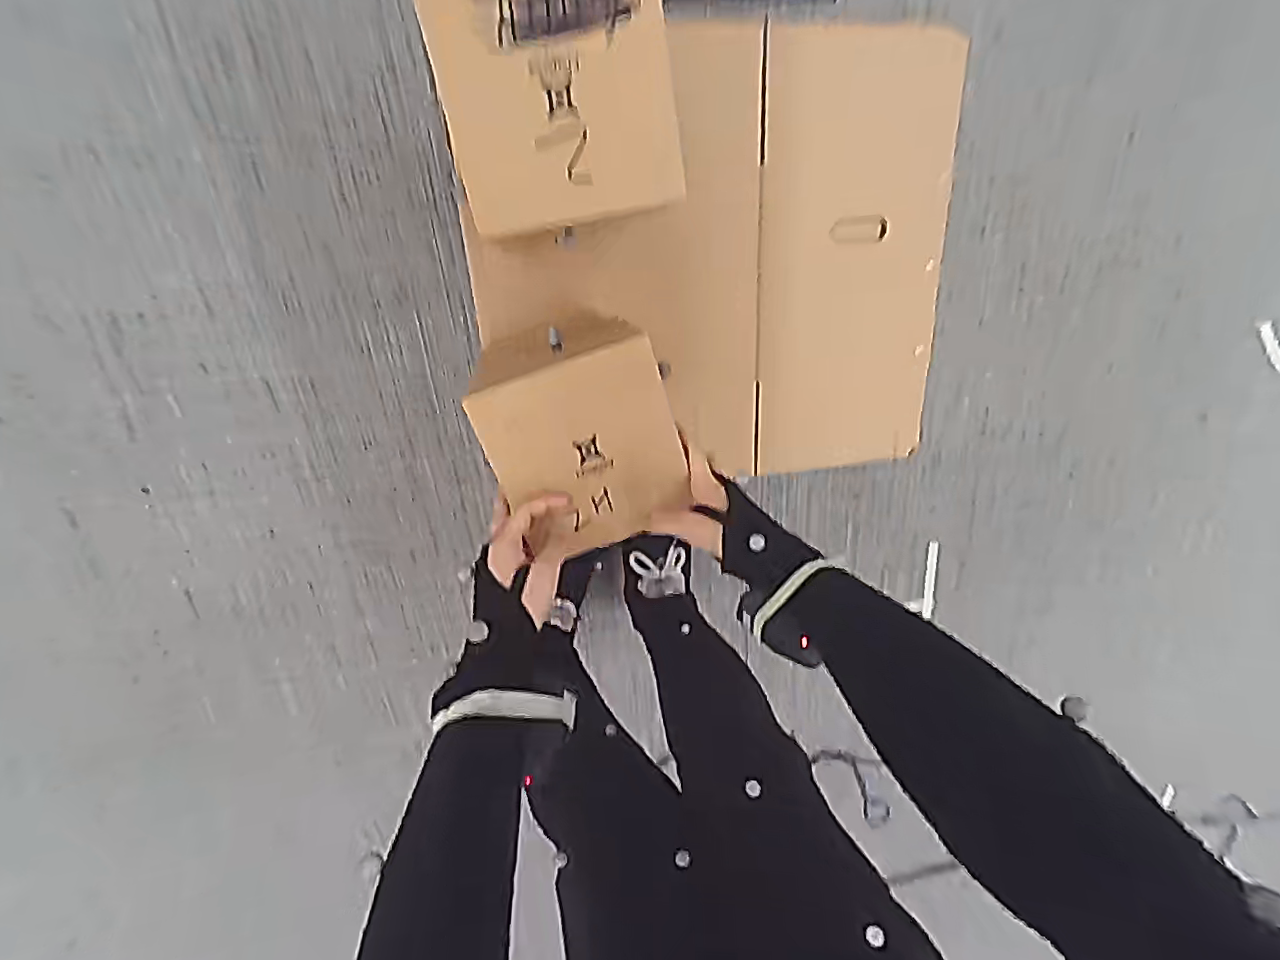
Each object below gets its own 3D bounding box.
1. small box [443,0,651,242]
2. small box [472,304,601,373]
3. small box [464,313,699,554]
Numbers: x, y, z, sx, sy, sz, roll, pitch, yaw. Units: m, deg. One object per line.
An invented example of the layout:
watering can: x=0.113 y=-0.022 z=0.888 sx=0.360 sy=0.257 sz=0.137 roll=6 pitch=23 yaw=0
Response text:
small box: x=-0.099 y=-0.375 z=0.596 sx=0.168 sy=0.176 sz=0.179 roll=-16 pitch=114 yaw=-5
small box: x=-0.098 y=-0.112 z=0.697 sx=0.168 sy=0.176 sz=0.179 roll=-21 pitch=115 yaw=-4
small box: x=-0.059 y=-0.060 z=0.546 sx=0.168 sy=0.176 sz=0.179 roll=-20 pitch=114 yaw=-2
